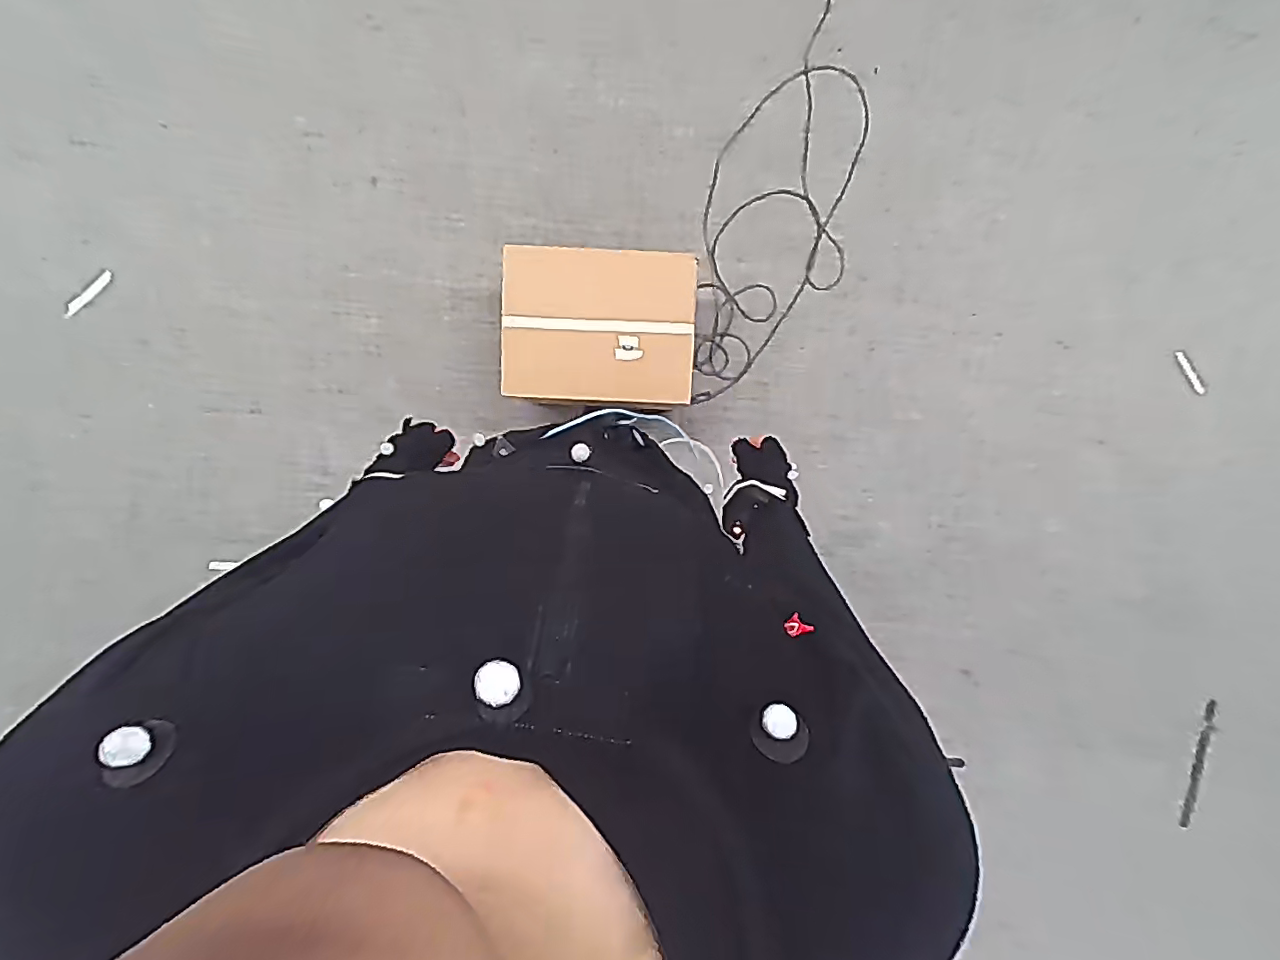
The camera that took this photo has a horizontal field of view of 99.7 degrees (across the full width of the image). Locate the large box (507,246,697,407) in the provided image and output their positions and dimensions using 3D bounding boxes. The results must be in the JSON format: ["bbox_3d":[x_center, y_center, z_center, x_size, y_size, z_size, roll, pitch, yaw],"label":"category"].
[{"bbox_3d":[-0.087,-0.343,1.293,0.408,0.320,0.320,3,96,-1],"label":"large box"}]
